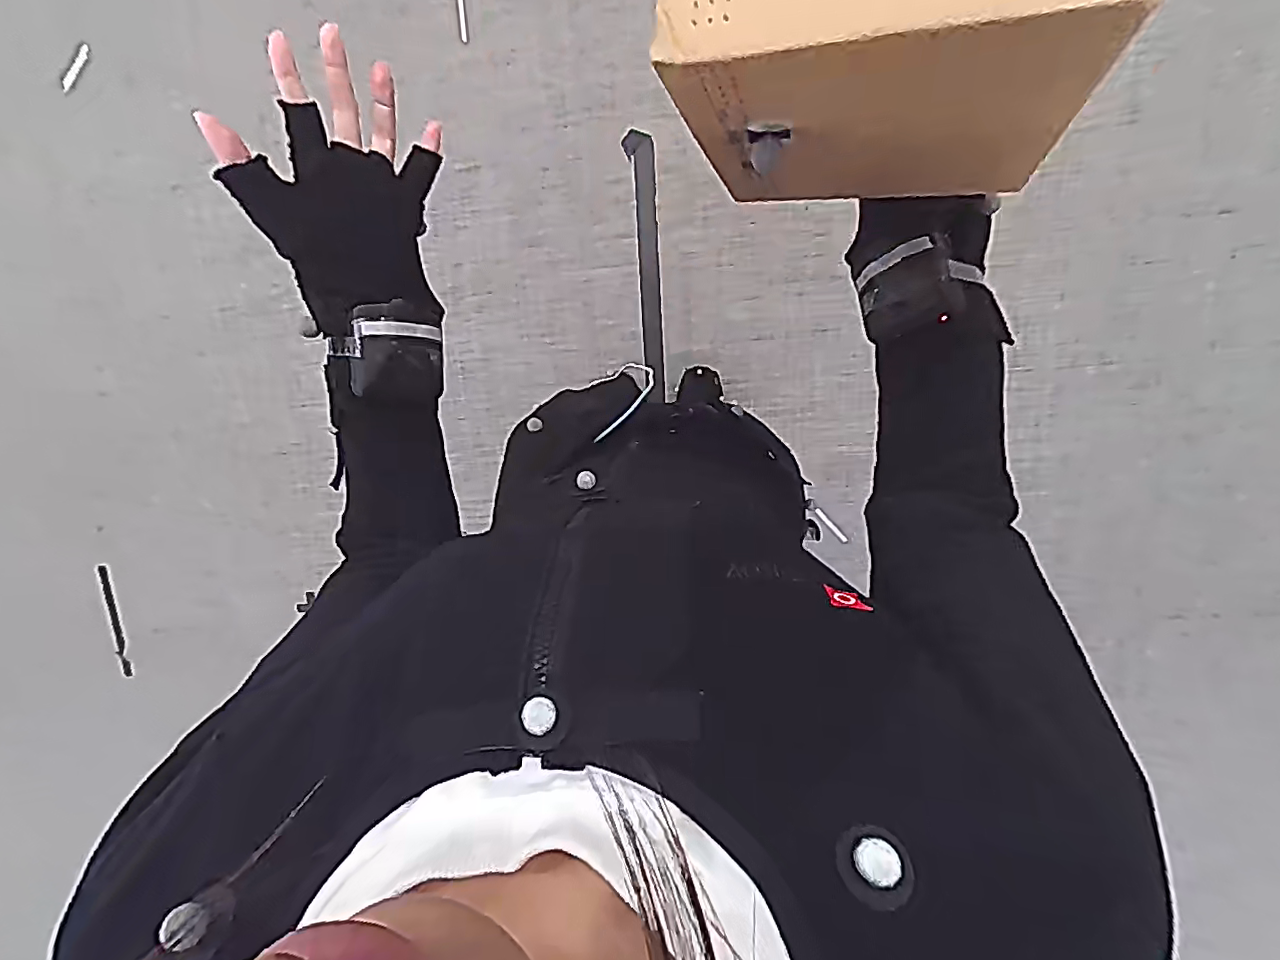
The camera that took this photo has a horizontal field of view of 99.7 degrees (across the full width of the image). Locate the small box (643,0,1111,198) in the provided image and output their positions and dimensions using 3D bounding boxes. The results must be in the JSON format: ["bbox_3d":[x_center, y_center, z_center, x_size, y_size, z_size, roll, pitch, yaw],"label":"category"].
[{"bbox_3d":[0.109,-0.256,0.257,0.176,0.168,0.179,9,101,22],"label":"small box"}]
